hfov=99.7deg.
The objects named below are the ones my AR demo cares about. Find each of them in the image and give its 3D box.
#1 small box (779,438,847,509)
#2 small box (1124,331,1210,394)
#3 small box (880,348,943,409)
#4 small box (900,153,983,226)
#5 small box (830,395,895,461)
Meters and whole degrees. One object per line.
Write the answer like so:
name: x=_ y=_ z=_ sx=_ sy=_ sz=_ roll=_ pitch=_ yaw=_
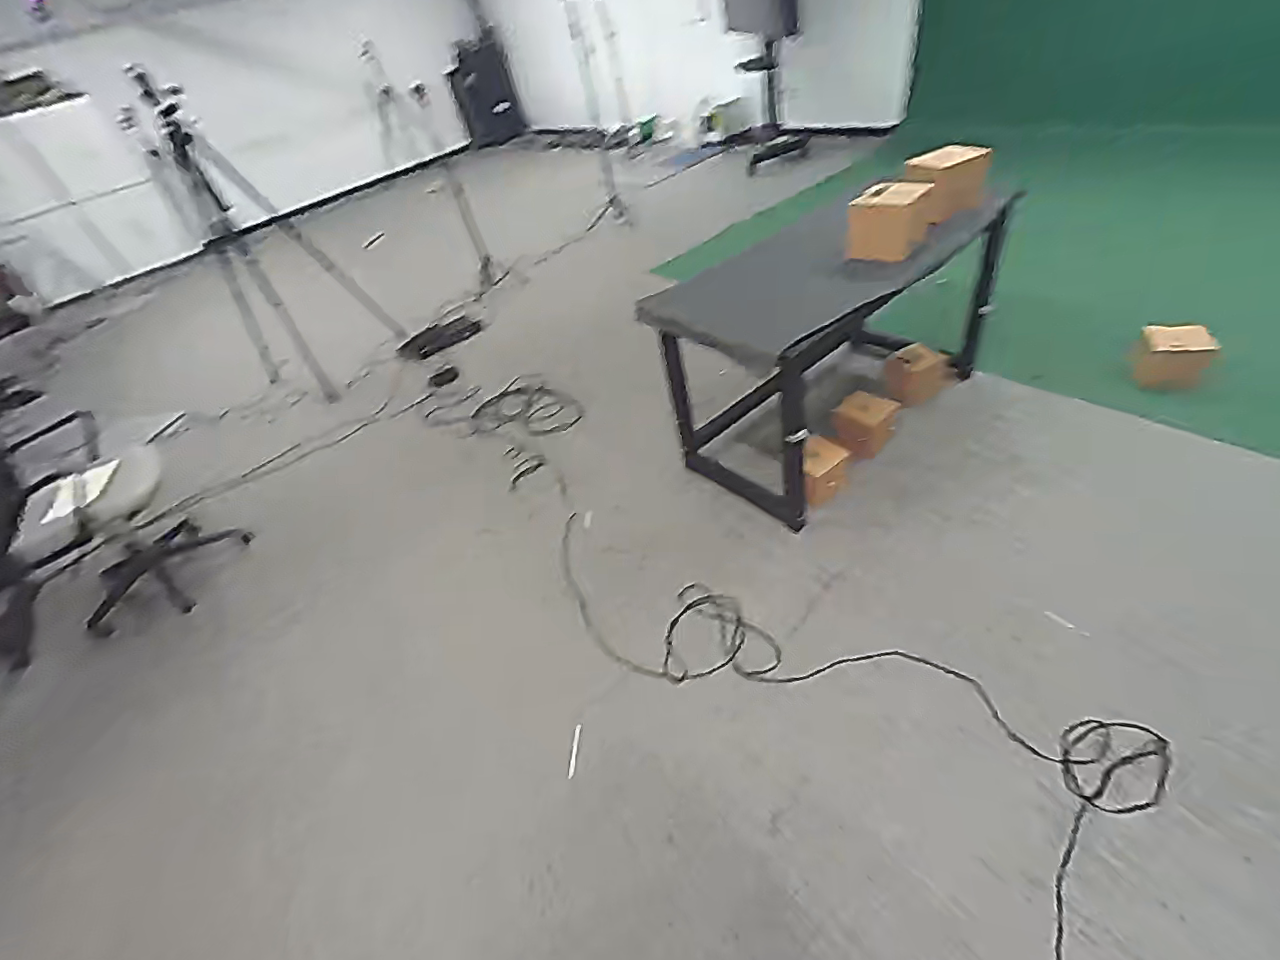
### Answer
small box: x=0.635 y=-0.018 z=1.985 sx=0.168 sy=0.176 sz=0.179 roll=-33 pitch=44 yaw=-19
small box: x=1.981 y=-0.445 z=2.044 sx=0.168 sy=0.176 sz=0.179 roll=4 pitch=44 yaw=21
small box: x=1.134 y=-0.425 z=2.275 sx=0.179 sy=0.176 sz=0.168 roll=-26 pitch=43 yaw=-13
small box: x=0.996 y=-0.965 z=1.801 sx=0.168 sy=0.176 sz=0.179 roll=-21 pitch=39 yaw=-7
small box: x=0.865 y=-0.199 z=2.110 sx=0.168 sy=0.176 sz=0.179 roll=-38 pitch=45 yaw=-24
